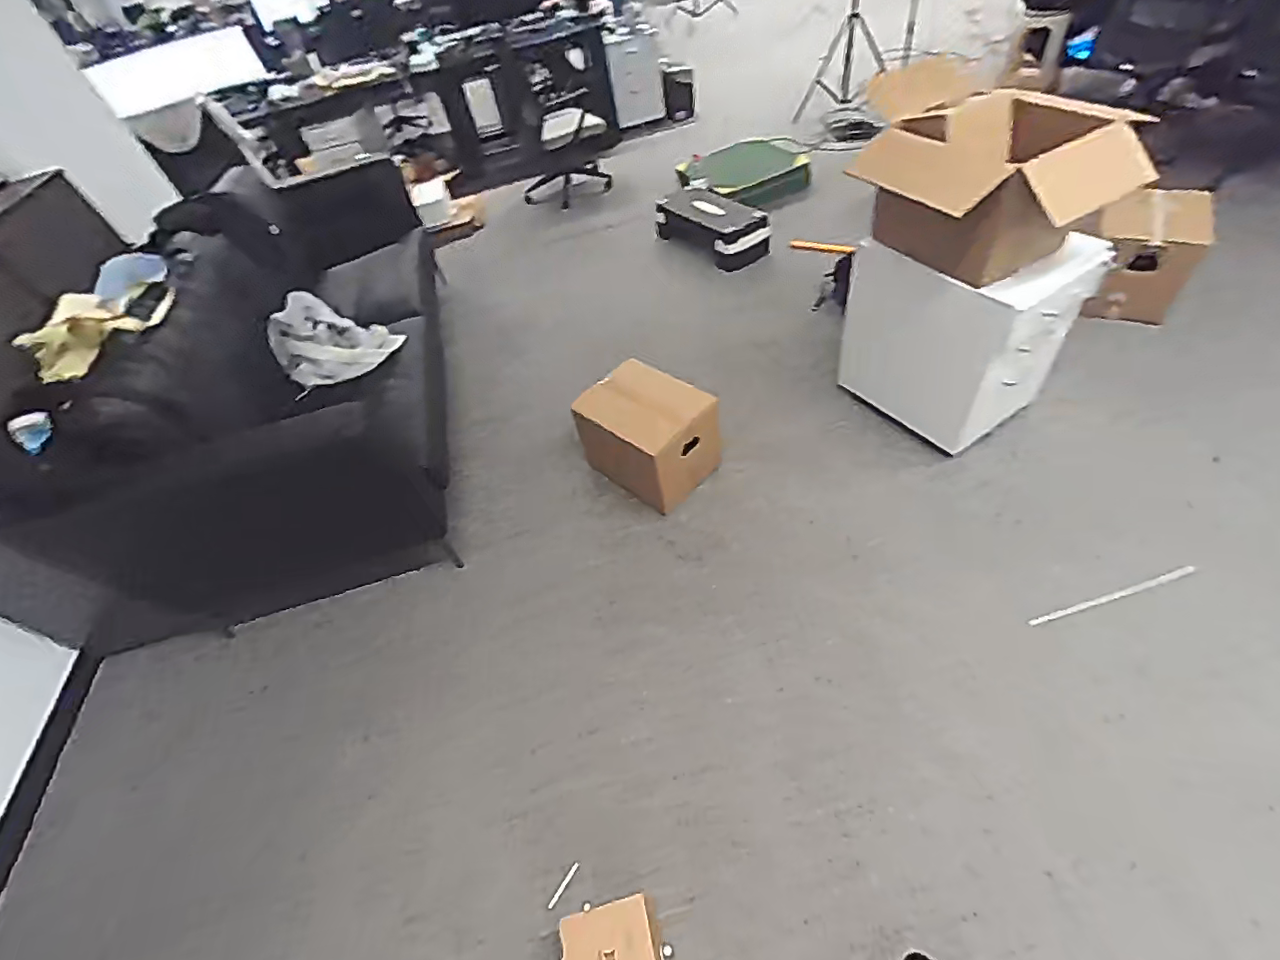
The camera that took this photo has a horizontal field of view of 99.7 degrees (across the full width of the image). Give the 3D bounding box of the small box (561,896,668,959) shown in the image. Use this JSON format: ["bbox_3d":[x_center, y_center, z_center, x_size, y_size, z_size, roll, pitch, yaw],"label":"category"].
[{"bbox_3d":[-0.042,0.955,1.073,0.179,0.176,0.168,-16,49,-3],"label":"small box"}]
